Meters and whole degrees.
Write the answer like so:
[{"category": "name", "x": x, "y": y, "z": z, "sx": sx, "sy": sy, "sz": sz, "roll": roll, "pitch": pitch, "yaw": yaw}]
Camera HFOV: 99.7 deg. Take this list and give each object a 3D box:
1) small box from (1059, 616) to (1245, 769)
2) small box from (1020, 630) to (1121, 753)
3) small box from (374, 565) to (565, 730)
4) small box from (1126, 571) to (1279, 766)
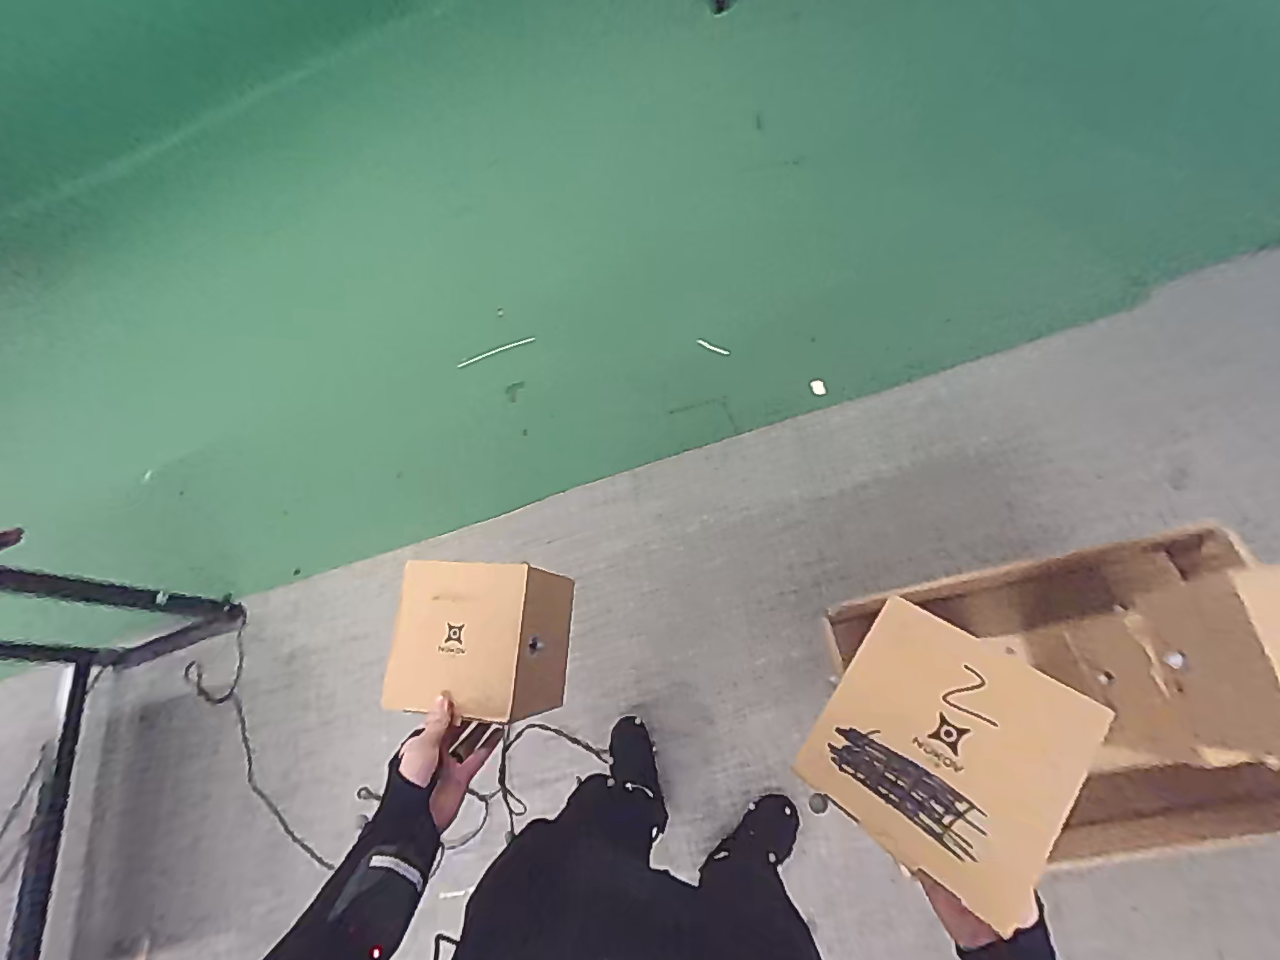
[{"category": "small box", "x": 0.690, "y": 0.249, "z": 0.683, "sx": 0.179, "sy": 0.176, "sz": 0.168, "roll": -17, "pitch": 65, "yaw": 10}, {"category": "small box", "x": 0.735, "y": 0.307, "z": 0.827, "sx": 0.179, "sy": 0.176, "sz": 0.168, "roll": -16, "pitch": 65, "yaw": 10}, {"category": "small box", "x": -0.206, "y": 0.210, "z": 0.703, "sx": 0.168, "sy": 0.176, "sz": 0.179, "roll": 0, "pitch": 74, "yaw": 12}, {"category": "small box", "x": 0.651, "y": 0.184, "z": 0.537, "sx": 0.179, "sy": 0.176, "sz": 0.168, "roll": -8, "pitch": 67, "yaw": 14}]
